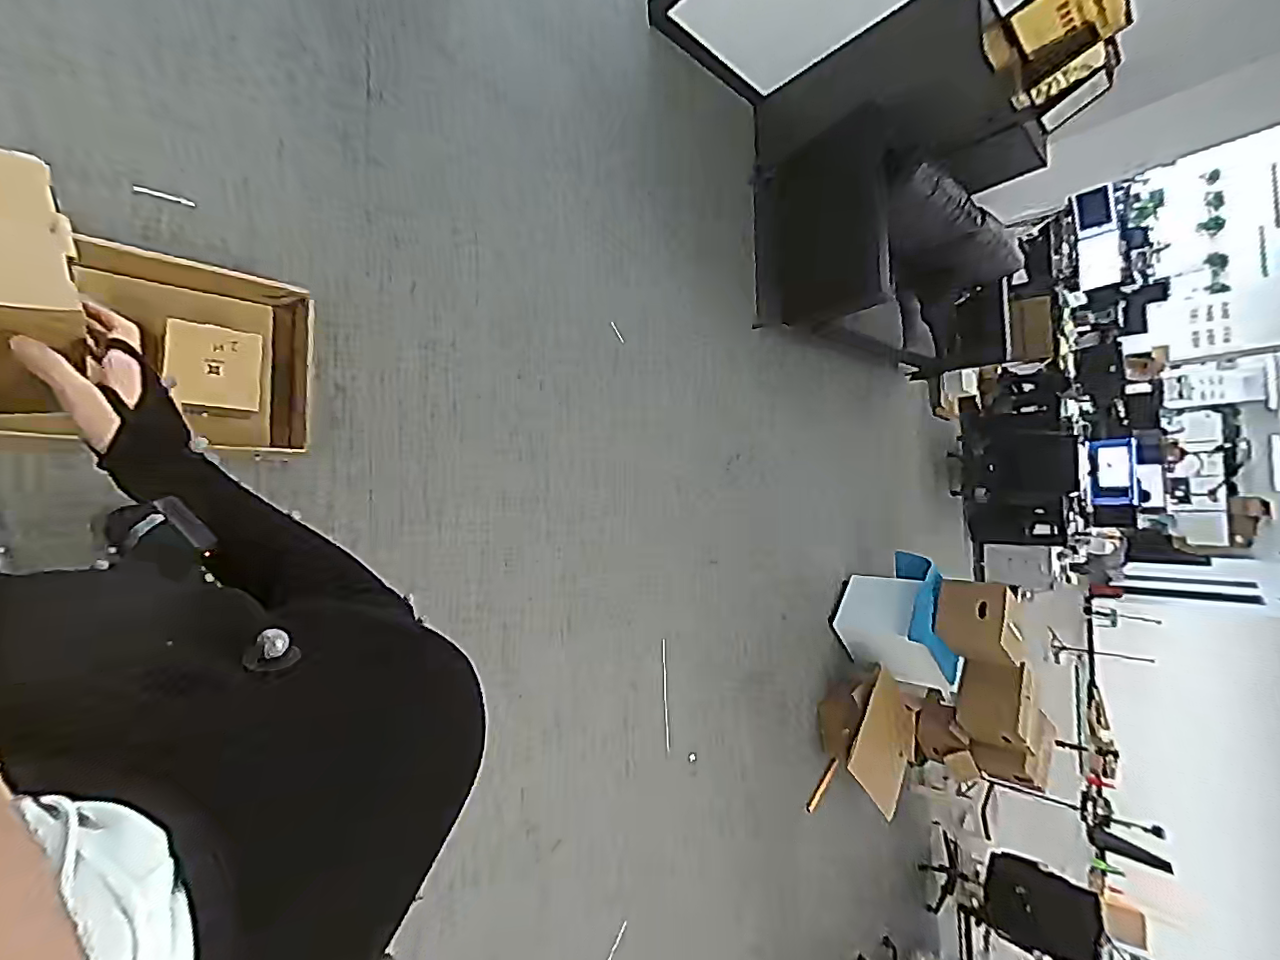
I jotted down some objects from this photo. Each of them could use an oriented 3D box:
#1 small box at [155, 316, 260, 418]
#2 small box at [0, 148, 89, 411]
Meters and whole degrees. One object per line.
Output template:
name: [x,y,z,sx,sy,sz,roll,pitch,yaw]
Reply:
small box: [-0.964,-0.240,1.204,0.168,0.176,0.179,5,84,-43]
small box: [-0.598,-0.166,0.449,0.179,0.176,0.168,-11,73,-48]
